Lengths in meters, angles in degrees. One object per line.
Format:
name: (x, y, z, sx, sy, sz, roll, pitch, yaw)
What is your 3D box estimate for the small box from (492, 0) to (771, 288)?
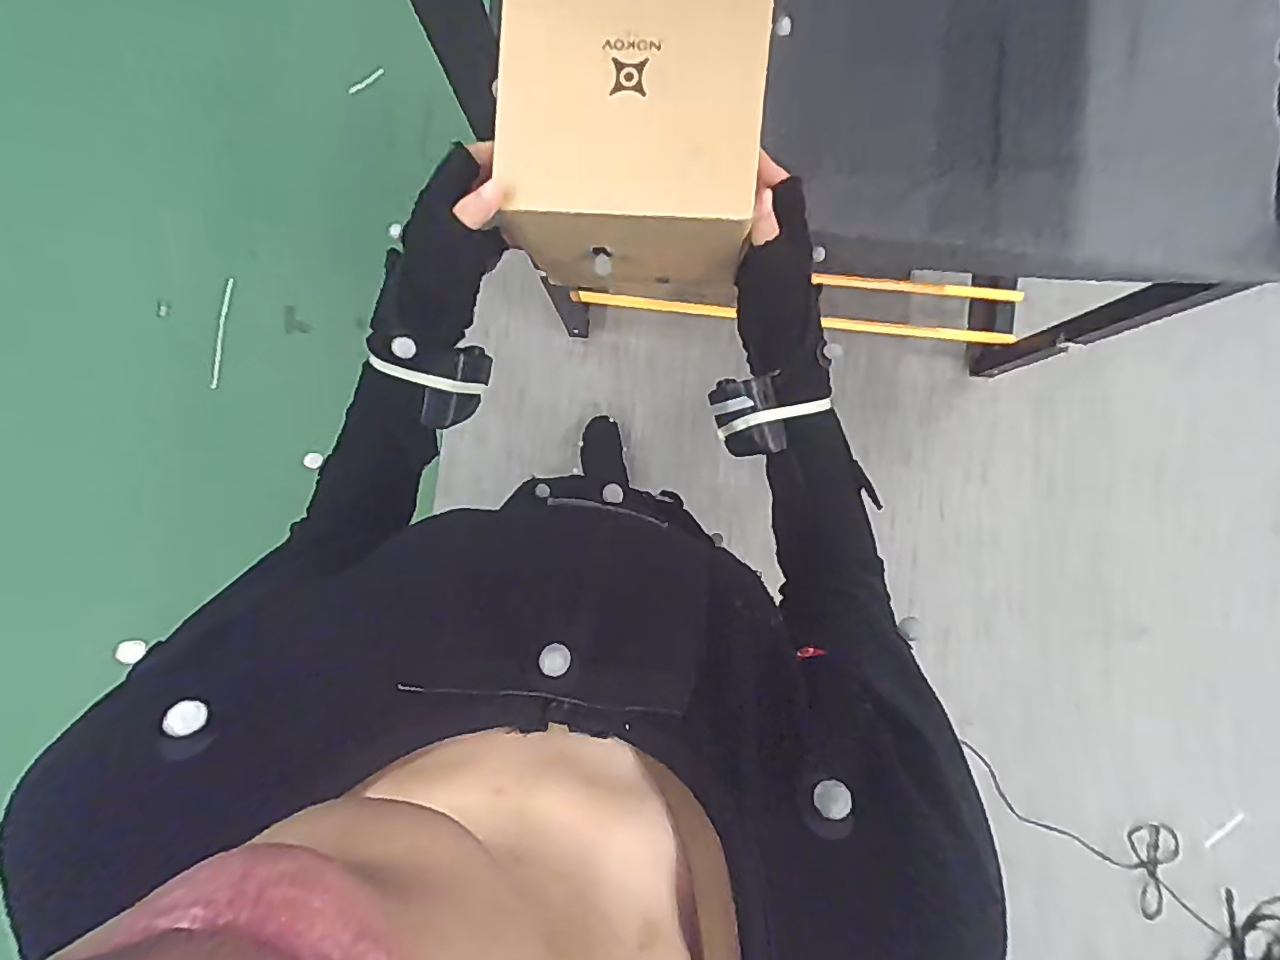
small box: (0.001, -0.255, 0.406, 0.168, 0.176, 0.179, 4, 93, 4)
